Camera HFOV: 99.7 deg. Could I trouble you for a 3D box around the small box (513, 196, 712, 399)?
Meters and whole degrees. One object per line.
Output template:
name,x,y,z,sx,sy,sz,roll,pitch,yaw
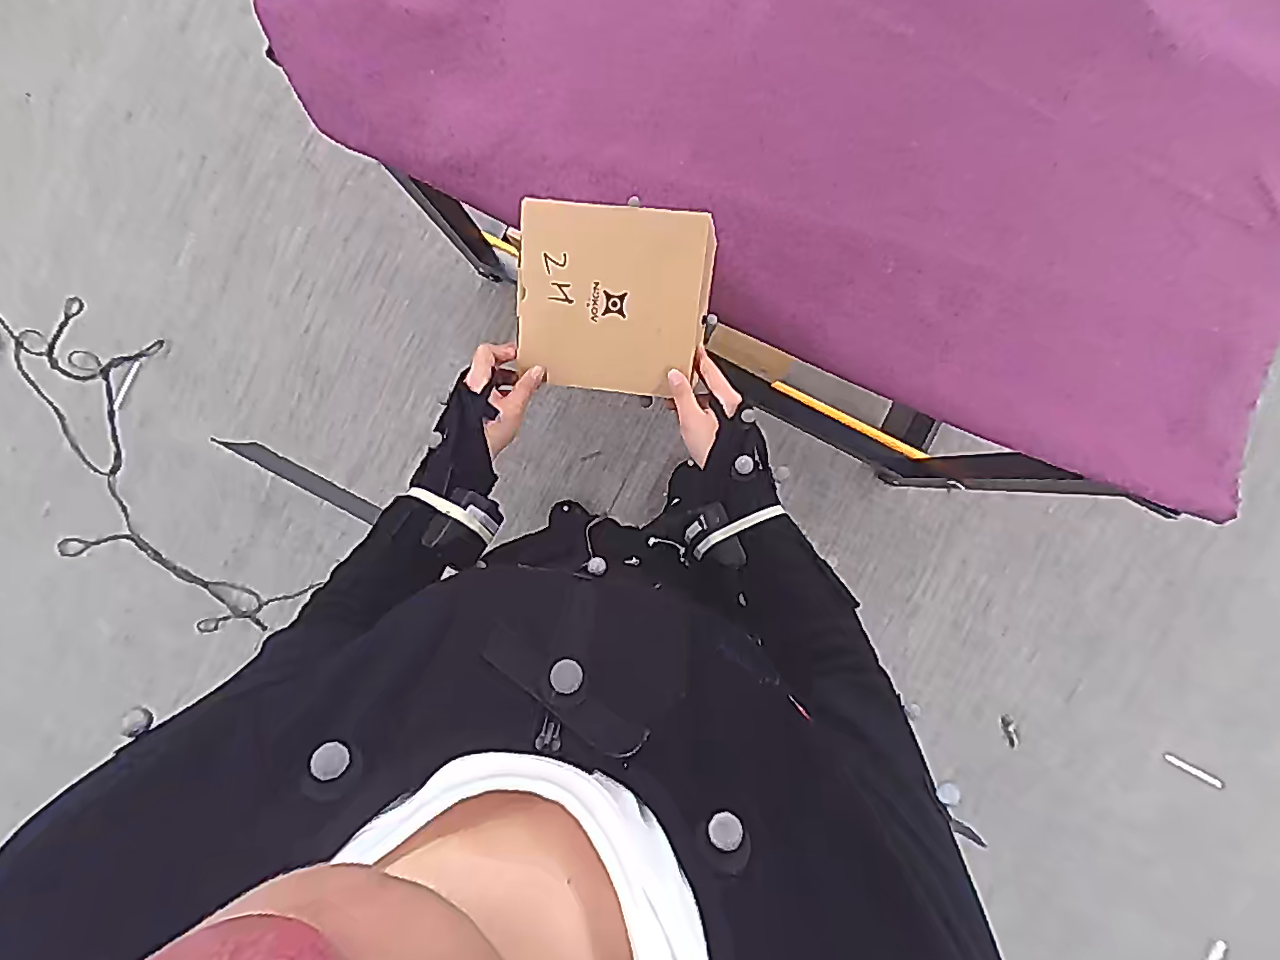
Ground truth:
small box,-0.019,-0.187,0.574,0.179,0.176,0.168,8,106,7
